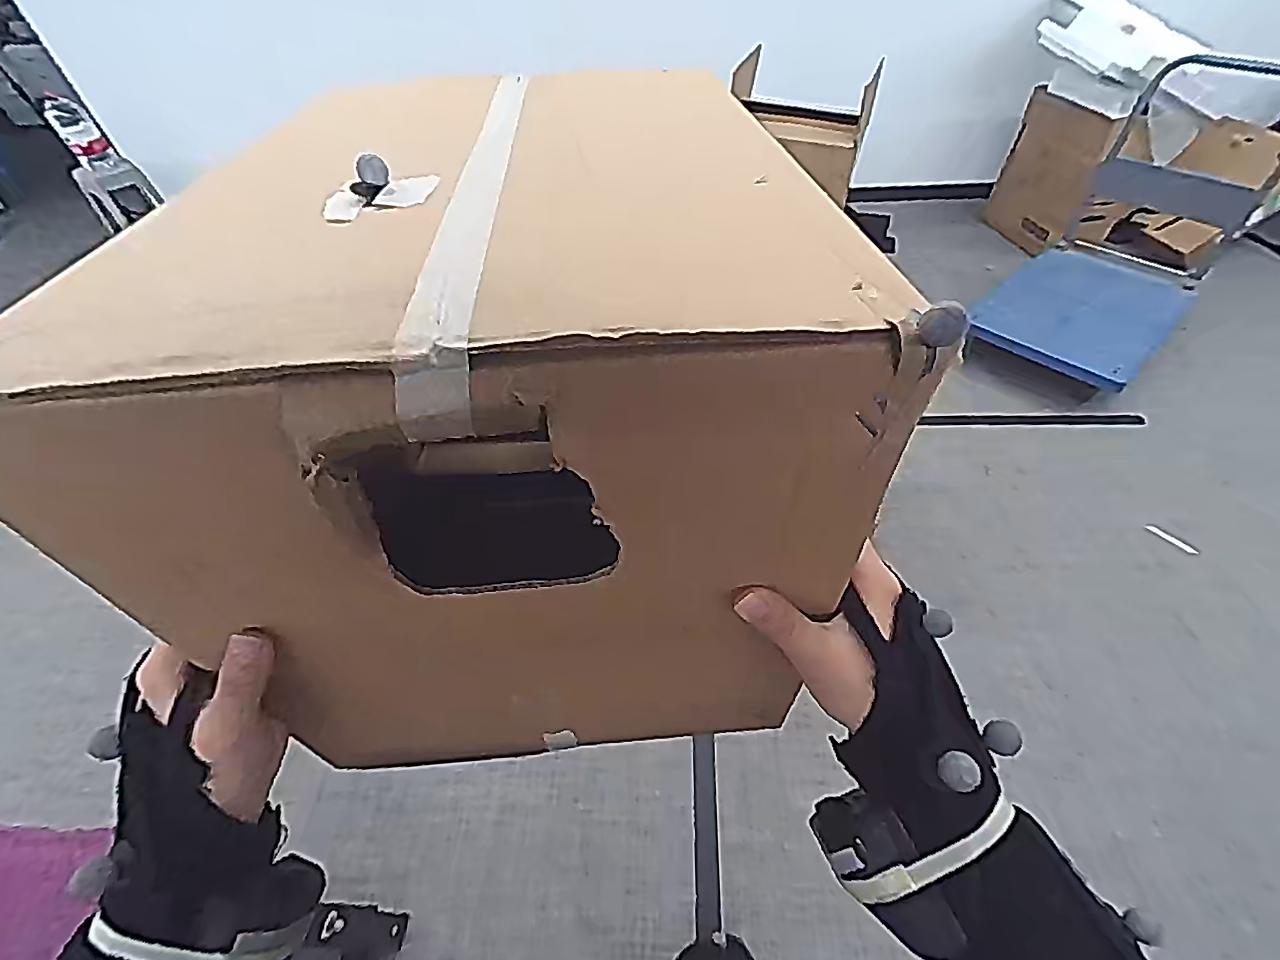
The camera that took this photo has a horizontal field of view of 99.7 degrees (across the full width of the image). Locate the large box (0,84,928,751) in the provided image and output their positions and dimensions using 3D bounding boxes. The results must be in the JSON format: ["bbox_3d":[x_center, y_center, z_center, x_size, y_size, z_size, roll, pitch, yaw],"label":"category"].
[{"bbox_3d":[-0.075,-0.068,0.412,0.320,0.320,0.408,-6,46,-2],"label":"large box"}]
